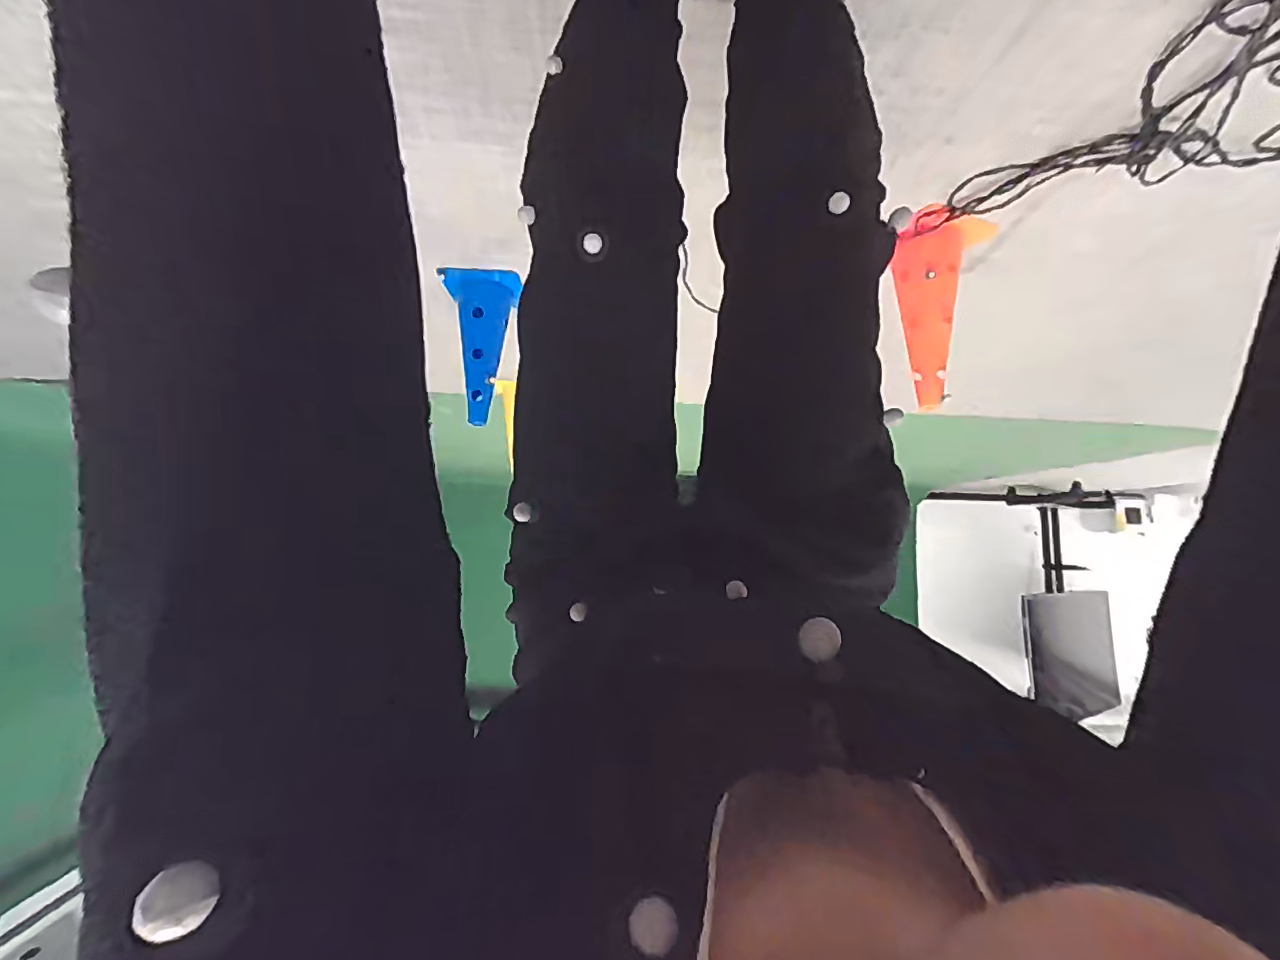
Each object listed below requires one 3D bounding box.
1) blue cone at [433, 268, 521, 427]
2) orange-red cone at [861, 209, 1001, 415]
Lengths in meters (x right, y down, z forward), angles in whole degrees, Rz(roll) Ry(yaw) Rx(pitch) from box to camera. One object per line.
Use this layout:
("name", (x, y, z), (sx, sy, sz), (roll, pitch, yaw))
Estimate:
("blue cone", (-0.411, -0.320, 1.352), (0.192, 0.380, 0.193), (3, 172, -4))
("orange-red cone", (0.579, -0.307, 1.075), (0.199, 0.360, 0.198), (4, 174, -23))
